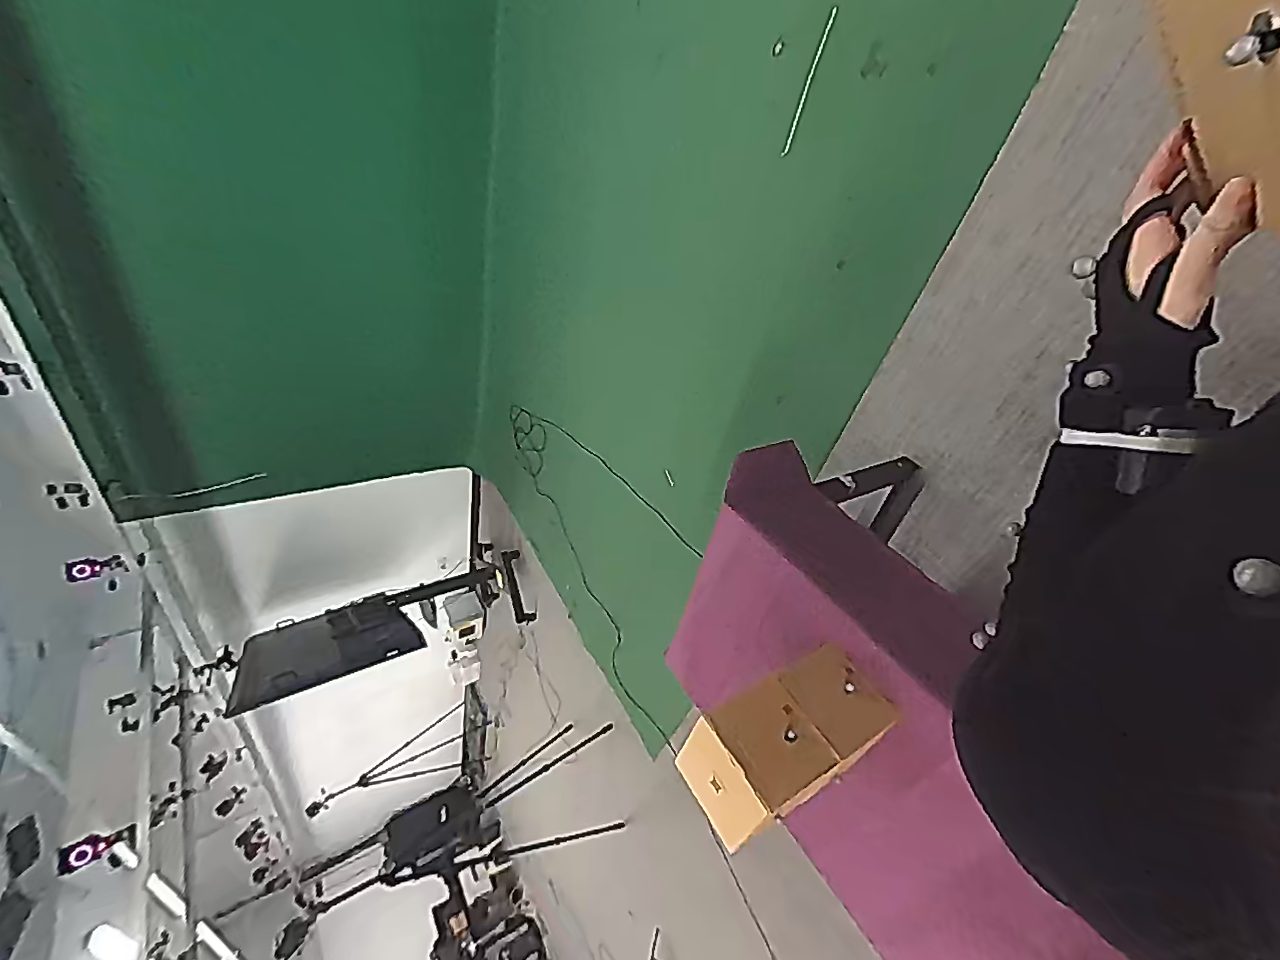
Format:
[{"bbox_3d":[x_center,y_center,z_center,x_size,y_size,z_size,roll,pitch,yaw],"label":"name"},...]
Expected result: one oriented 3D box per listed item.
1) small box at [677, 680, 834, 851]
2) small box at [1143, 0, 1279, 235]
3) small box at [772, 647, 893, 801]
[{"bbox_3d":[0.193,0.475,0.916,0.168,0.176,0.179,49,138,36],"label":"small box"},{"bbox_3d":[0.385,-0.238,0.248,0.179,0.176,0.168,-19,107,35],"label":"small box"},{"bbox_3d":[0.328,0.445,1.002,0.168,0.176,0.179,49,138,35],"label":"small box"}]
